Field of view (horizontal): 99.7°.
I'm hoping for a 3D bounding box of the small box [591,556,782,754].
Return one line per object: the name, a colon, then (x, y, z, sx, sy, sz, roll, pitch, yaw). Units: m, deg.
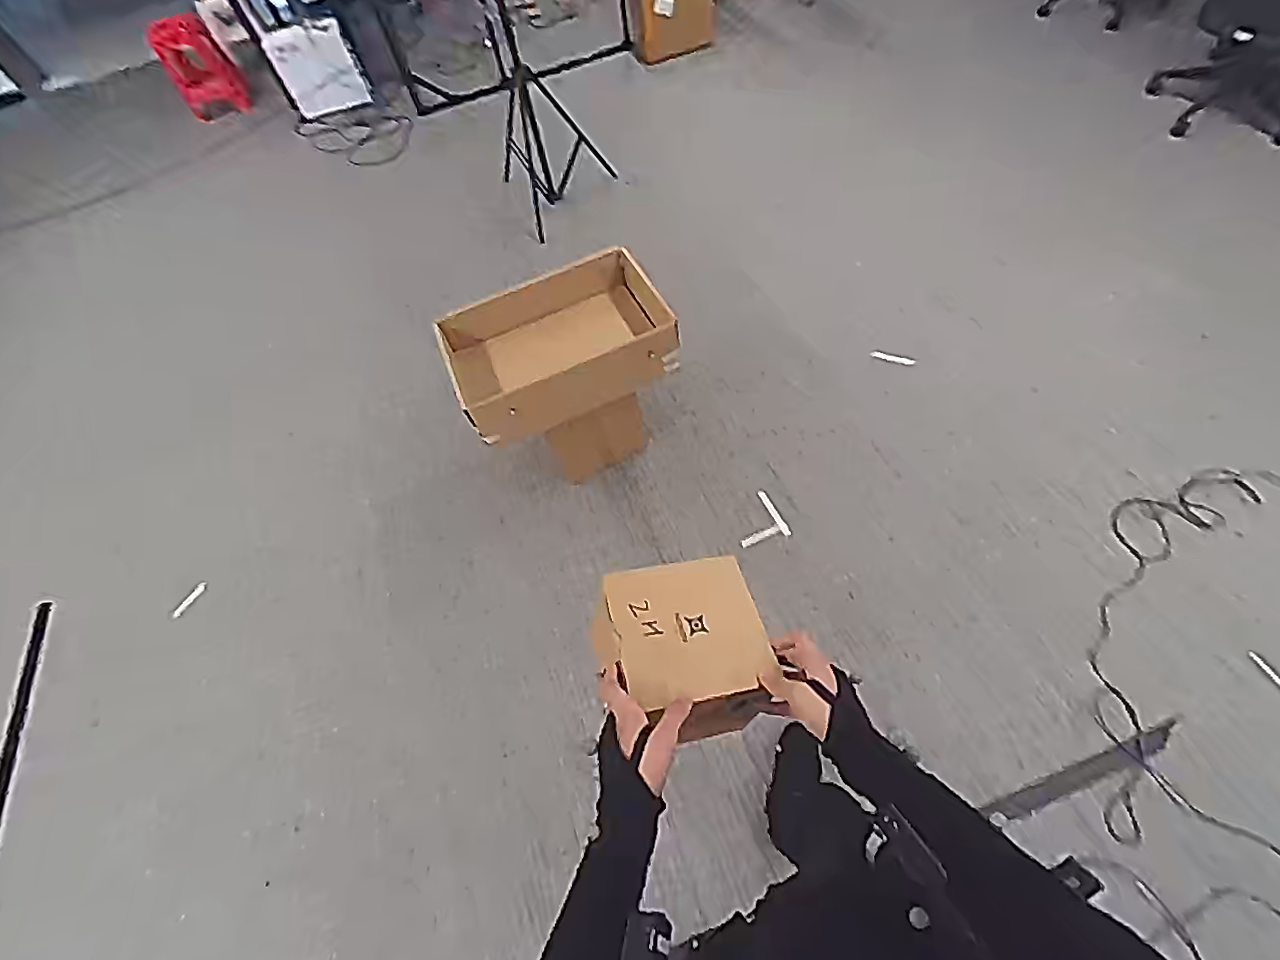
small box: (0.042, 0.216, 0.669, 0.179, 0.176, 0.168, -6, 51, -15)
